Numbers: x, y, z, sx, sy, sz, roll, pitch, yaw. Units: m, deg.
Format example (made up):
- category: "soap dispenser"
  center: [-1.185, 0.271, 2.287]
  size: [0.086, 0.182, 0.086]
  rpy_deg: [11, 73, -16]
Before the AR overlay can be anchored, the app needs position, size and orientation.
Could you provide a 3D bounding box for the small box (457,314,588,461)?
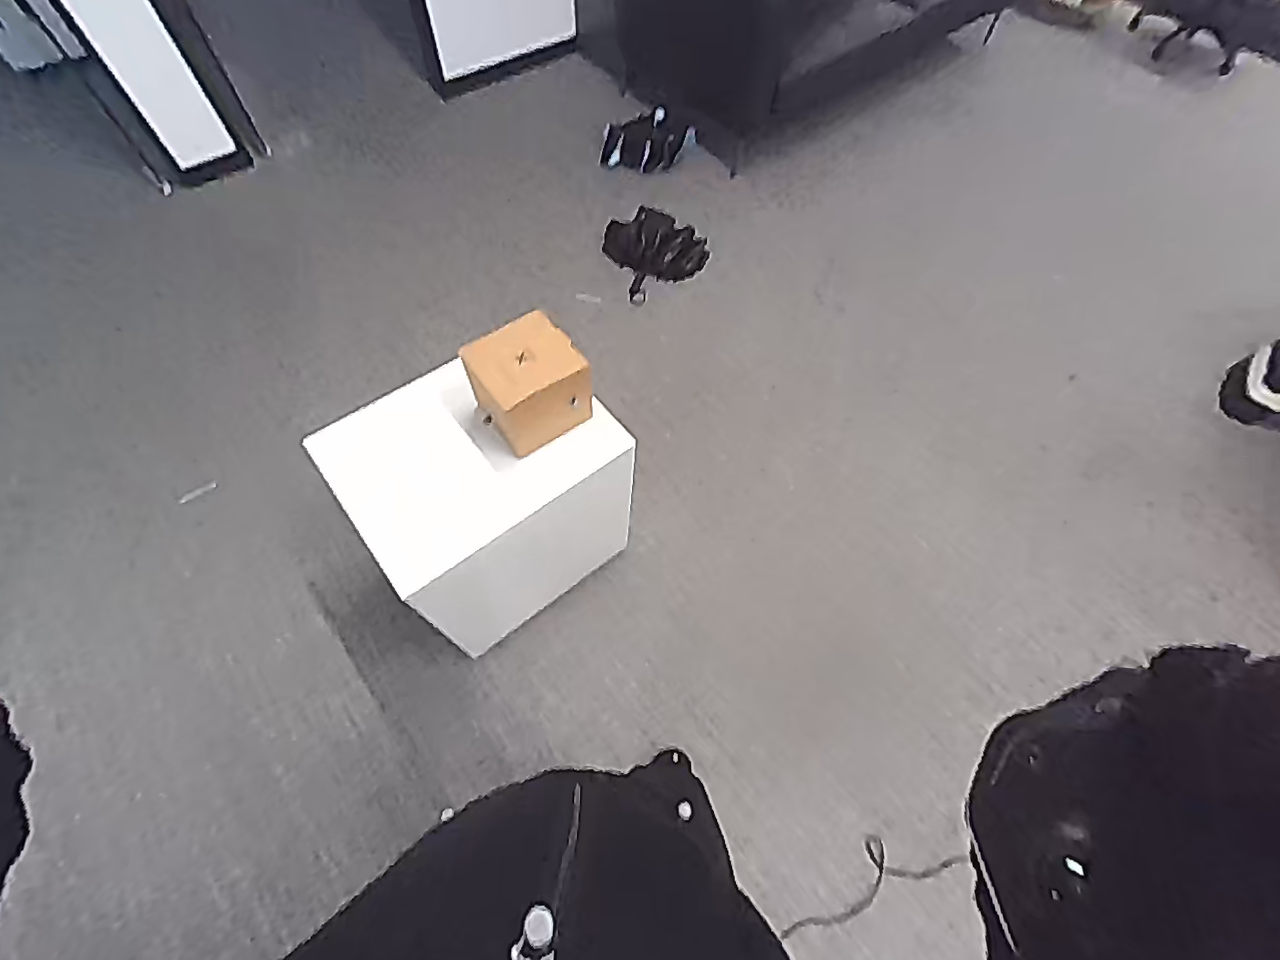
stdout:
- category: "small box"
  center: [-0.211, -0.170, 1.021]
  size: [0.179, 0.176, 0.168]
  rpy_deg: [-35, 67, -18]
